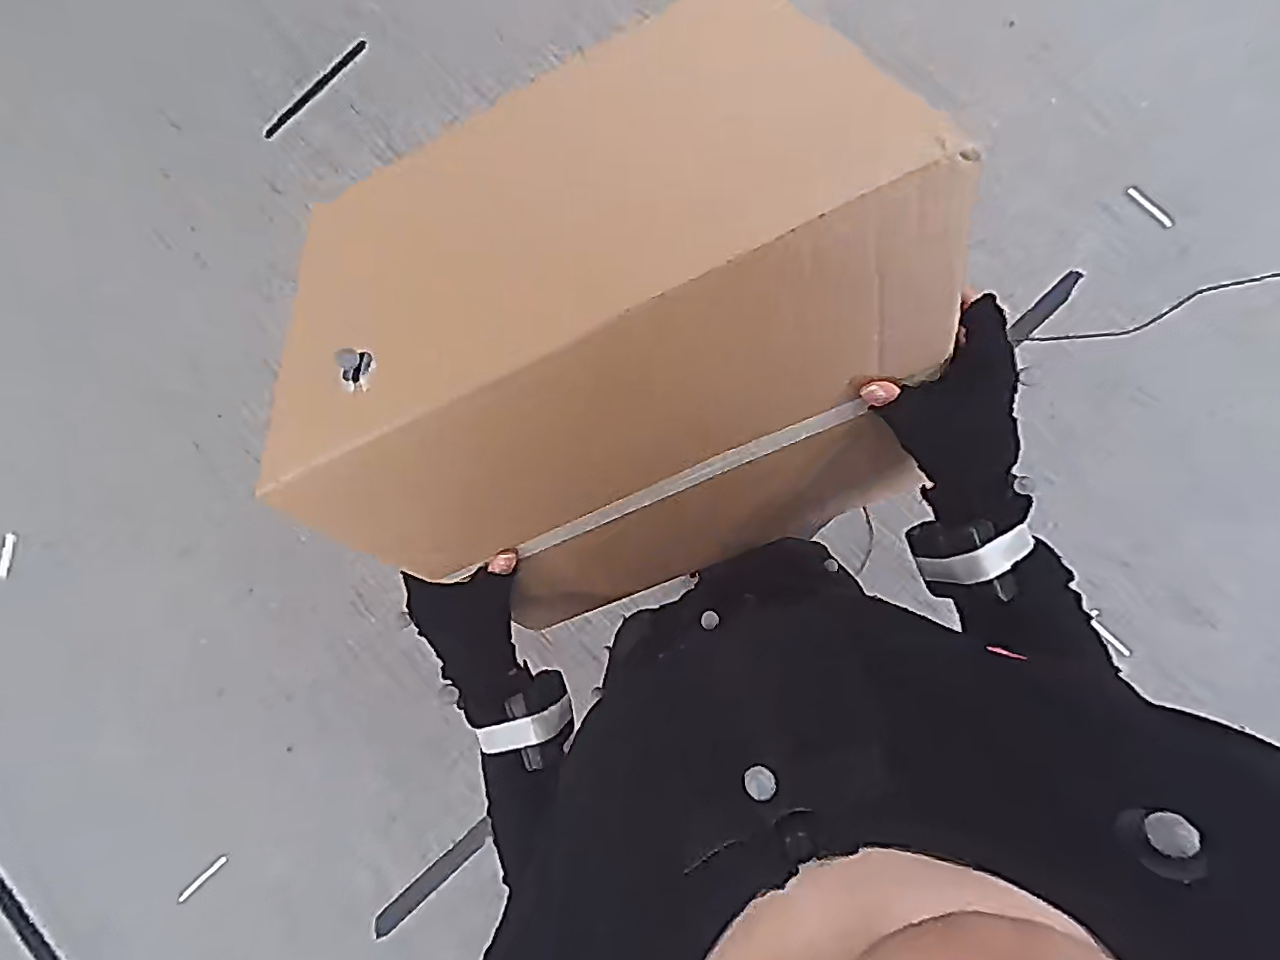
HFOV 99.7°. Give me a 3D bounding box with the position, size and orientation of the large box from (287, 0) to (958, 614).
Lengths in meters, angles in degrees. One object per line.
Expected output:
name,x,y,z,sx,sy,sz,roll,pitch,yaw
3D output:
large box,-0.015,-0.128,0.486,0.408,0.320,0.320,-23,56,9
